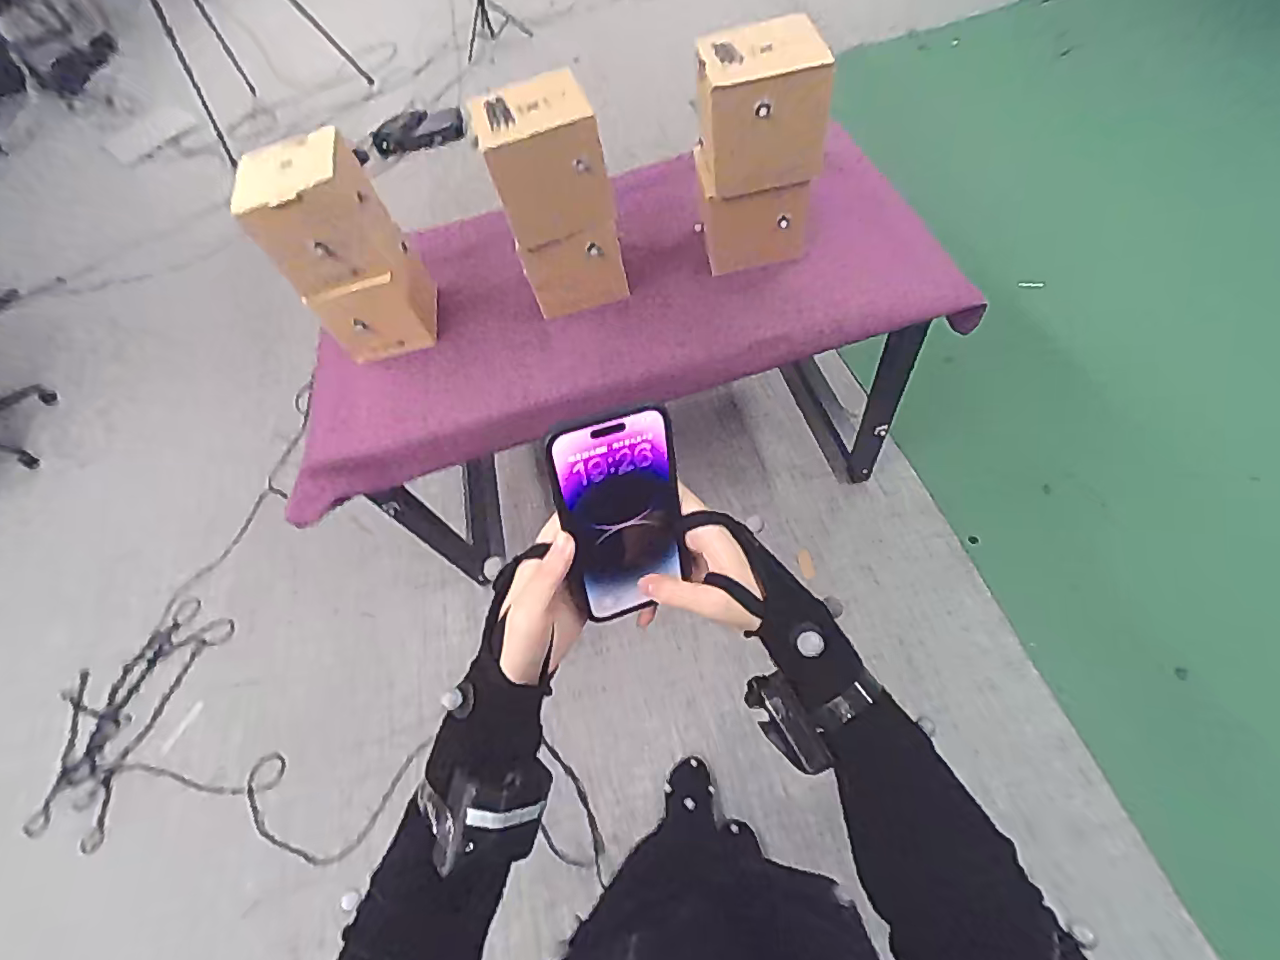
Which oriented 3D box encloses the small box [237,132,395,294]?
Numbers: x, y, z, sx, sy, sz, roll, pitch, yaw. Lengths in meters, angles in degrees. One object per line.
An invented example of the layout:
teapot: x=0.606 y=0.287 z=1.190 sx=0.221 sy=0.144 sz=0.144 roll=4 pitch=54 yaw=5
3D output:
small box: x=-0.538 y=-0.443 z=0.921 sx=0.168 sy=0.176 sz=0.179 roll=-18 pitch=59 yaw=-1

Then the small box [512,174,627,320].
small box: x=-0.127 y=-0.437 z=1.030 sx=0.179 sy=0.176 sz=0.168 roll=-15 pitch=58 yaw=2

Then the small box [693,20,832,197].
small box: x=0.189 y=-0.582 z=0.862 sx=0.179 sy=0.176 sz=0.168 roll=-10 pitch=59 yaw=5

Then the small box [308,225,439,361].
small box: x=-0.508 y=-0.354 z=1.057 sx=0.168 sy=0.176 sz=0.179 roll=-14 pitch=58 yaw=3

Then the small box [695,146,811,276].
small box: x=0.205 y=-0.512 z=1.010 sx=0.179 sy=0.176 sz=0.168 roll=-10 pitch=58 yaw=6
